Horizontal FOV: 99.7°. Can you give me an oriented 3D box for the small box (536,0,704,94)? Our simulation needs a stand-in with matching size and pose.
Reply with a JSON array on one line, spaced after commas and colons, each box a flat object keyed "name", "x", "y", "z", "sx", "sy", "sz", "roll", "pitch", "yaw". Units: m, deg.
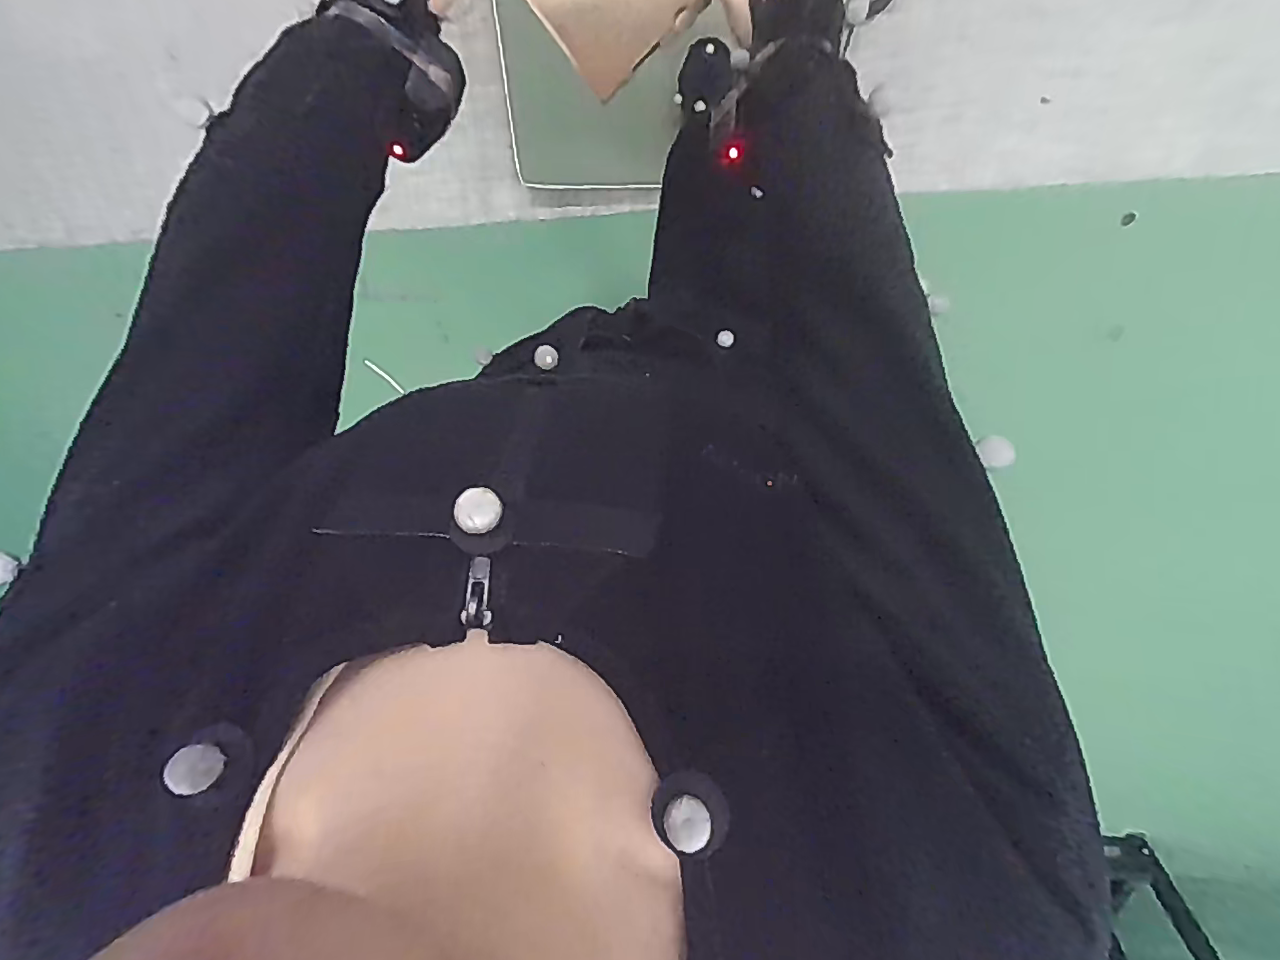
[{"name": "small box", "x": -0.018, "y": -0.450, "z": 0.408, "sx": 0.168, "sy": 0.176, "sz": 0.179, "roll": -29, "pitch": 129, "yaw": 28}]
